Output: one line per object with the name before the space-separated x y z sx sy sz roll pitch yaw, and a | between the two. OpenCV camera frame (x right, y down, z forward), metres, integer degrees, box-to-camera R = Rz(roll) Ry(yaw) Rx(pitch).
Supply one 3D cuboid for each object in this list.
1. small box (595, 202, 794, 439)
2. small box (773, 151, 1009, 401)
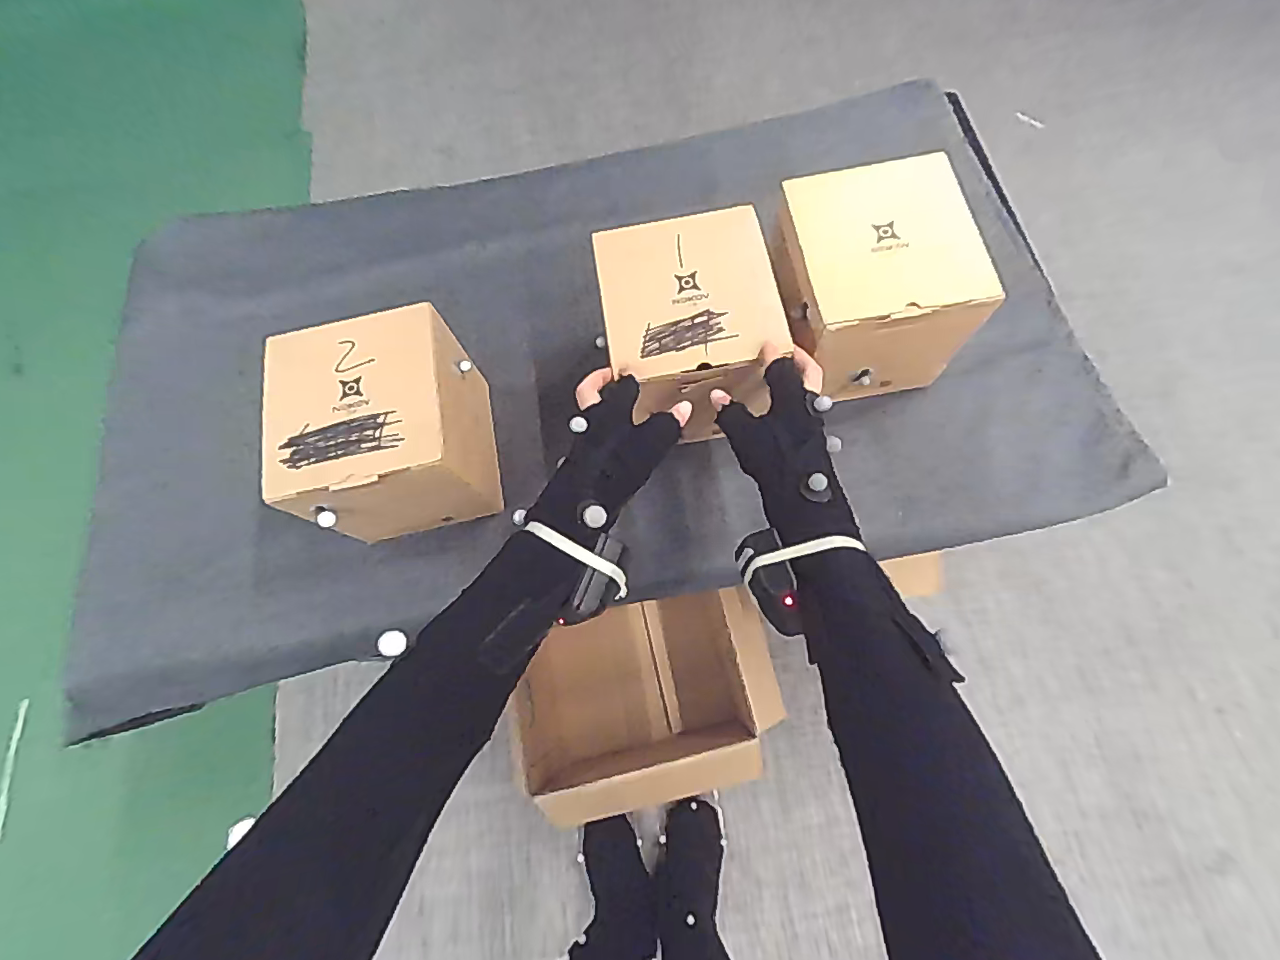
small box | 0.053 -0.156 0.583 0.168 0.176 0.179 -9 71 1
small box | 0.243 -0.208 0.585 0.168 0.176 0.179 -10 72 2
